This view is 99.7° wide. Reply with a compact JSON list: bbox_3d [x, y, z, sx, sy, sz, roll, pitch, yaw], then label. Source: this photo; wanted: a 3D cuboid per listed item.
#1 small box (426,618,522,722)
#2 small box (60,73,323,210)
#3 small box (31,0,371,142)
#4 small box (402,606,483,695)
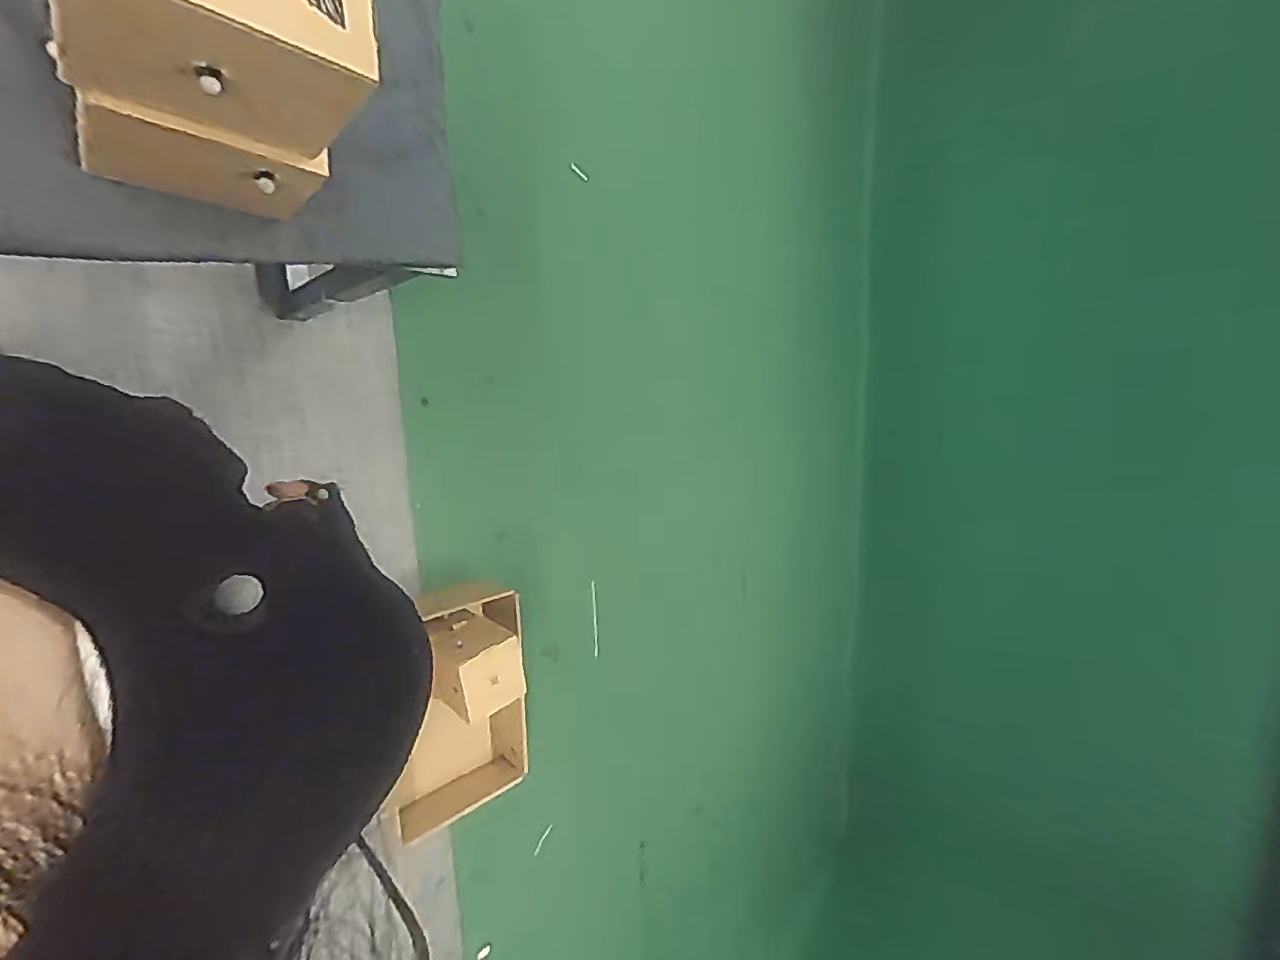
[{"bbox_3d":[-0.432,0.477,1.397,0.168,0.176,0.179,-21,113,-41],"label":"small box"},{"bbox_3d":[-0.428,-0.381,0.517,0.179,0.176,0.168,-5,97,-45],"label":"small box"},{"bbox_3d":[-0.320,-0.380,0.393,0.179,0.176,0.168,-7,98,-45],"label":"small box"},{"bbox_3d":[-0.550,0.465,1.511,0.168,0.176,0.179,-8,101,-45],"label":"small box"}]
